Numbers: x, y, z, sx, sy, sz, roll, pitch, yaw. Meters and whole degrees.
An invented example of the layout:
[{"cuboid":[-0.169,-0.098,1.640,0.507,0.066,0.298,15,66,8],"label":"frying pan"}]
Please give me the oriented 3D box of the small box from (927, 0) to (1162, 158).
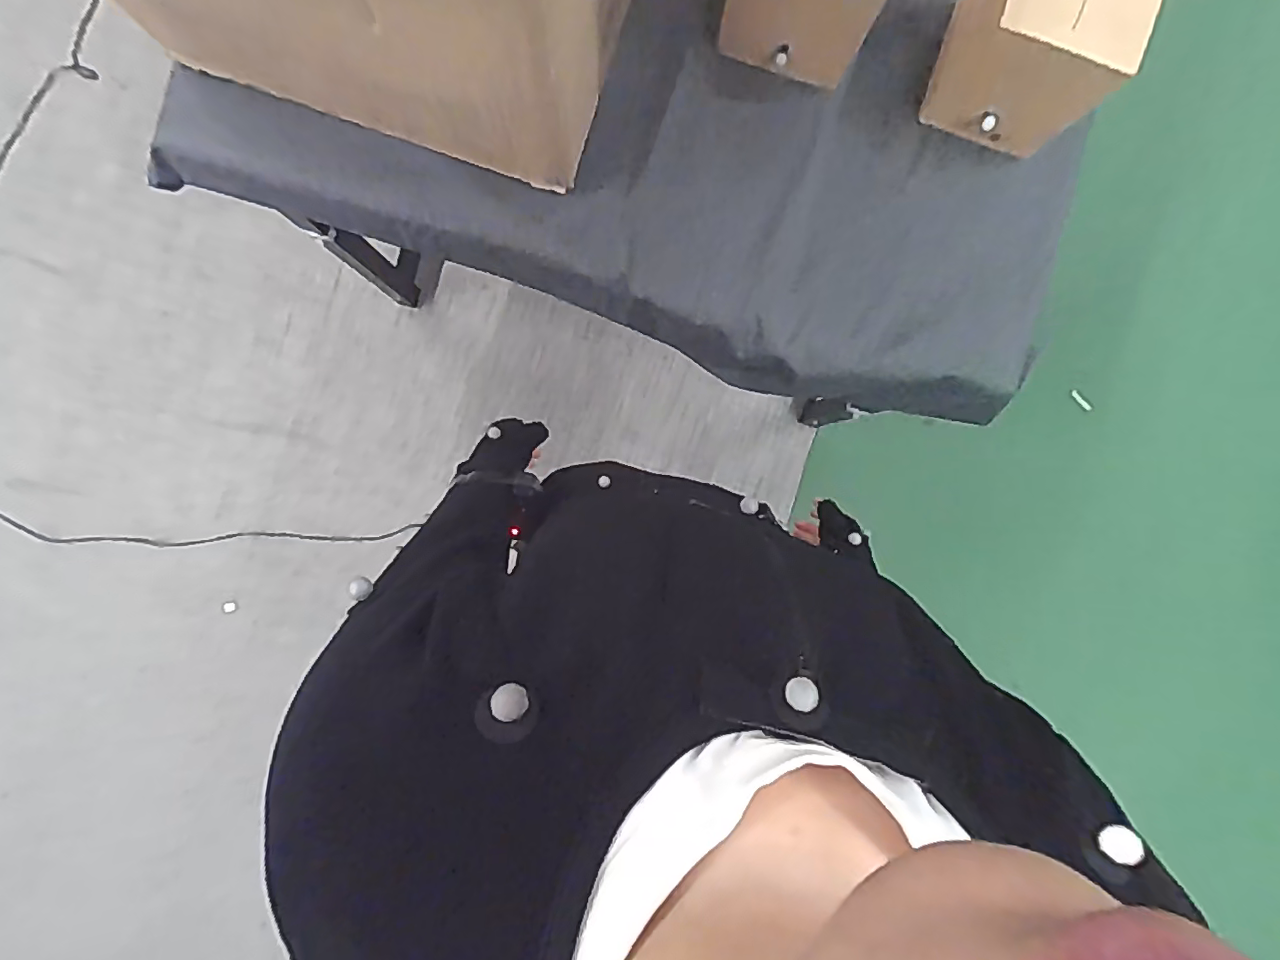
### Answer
[{"cuboid":[0.499,-0.556,0.679,0.168,0.176,0.179,19,91,-2],"label":"small box"}]
